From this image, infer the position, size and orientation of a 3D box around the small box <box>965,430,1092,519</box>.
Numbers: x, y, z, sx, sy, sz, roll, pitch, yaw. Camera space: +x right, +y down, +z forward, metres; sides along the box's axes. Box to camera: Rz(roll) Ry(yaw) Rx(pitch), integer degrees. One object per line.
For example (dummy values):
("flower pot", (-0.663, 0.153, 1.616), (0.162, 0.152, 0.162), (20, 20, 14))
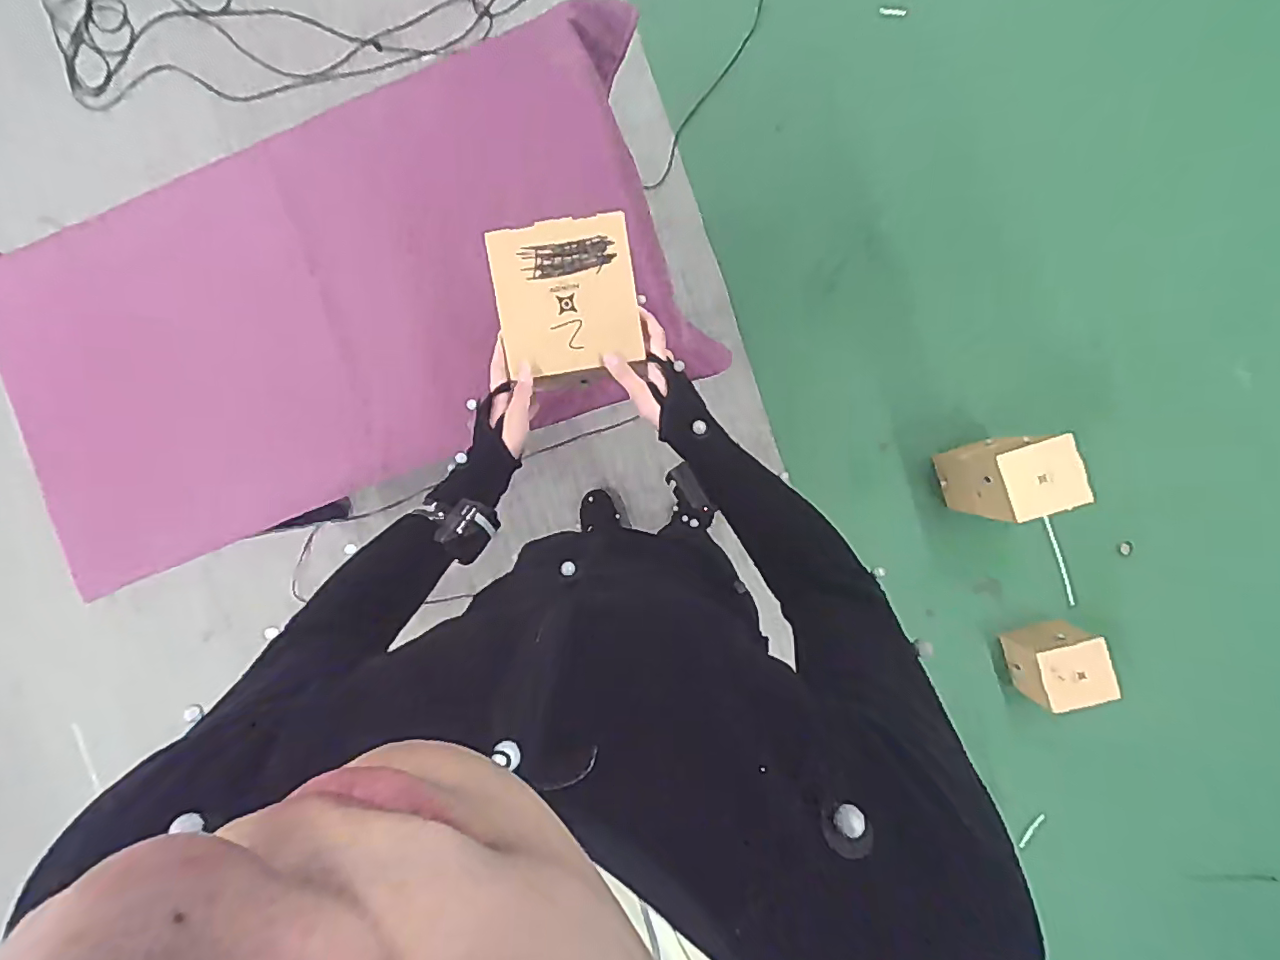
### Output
("small box", (0.926, -0.012, 1.313), (0.179, 0.176, 0.168), (-19, 90, 4))

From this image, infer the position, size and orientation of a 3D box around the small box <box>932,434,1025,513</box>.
("small box", (0.939, -0.020, 1.474), (0.179, 0.176, 0.168), (-18, 90, 6))

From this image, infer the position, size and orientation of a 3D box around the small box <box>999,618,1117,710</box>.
("small box", (1.132, 0.494, 1.476), (0.179, 0.176, 0.168), (-16, 91, 6))
